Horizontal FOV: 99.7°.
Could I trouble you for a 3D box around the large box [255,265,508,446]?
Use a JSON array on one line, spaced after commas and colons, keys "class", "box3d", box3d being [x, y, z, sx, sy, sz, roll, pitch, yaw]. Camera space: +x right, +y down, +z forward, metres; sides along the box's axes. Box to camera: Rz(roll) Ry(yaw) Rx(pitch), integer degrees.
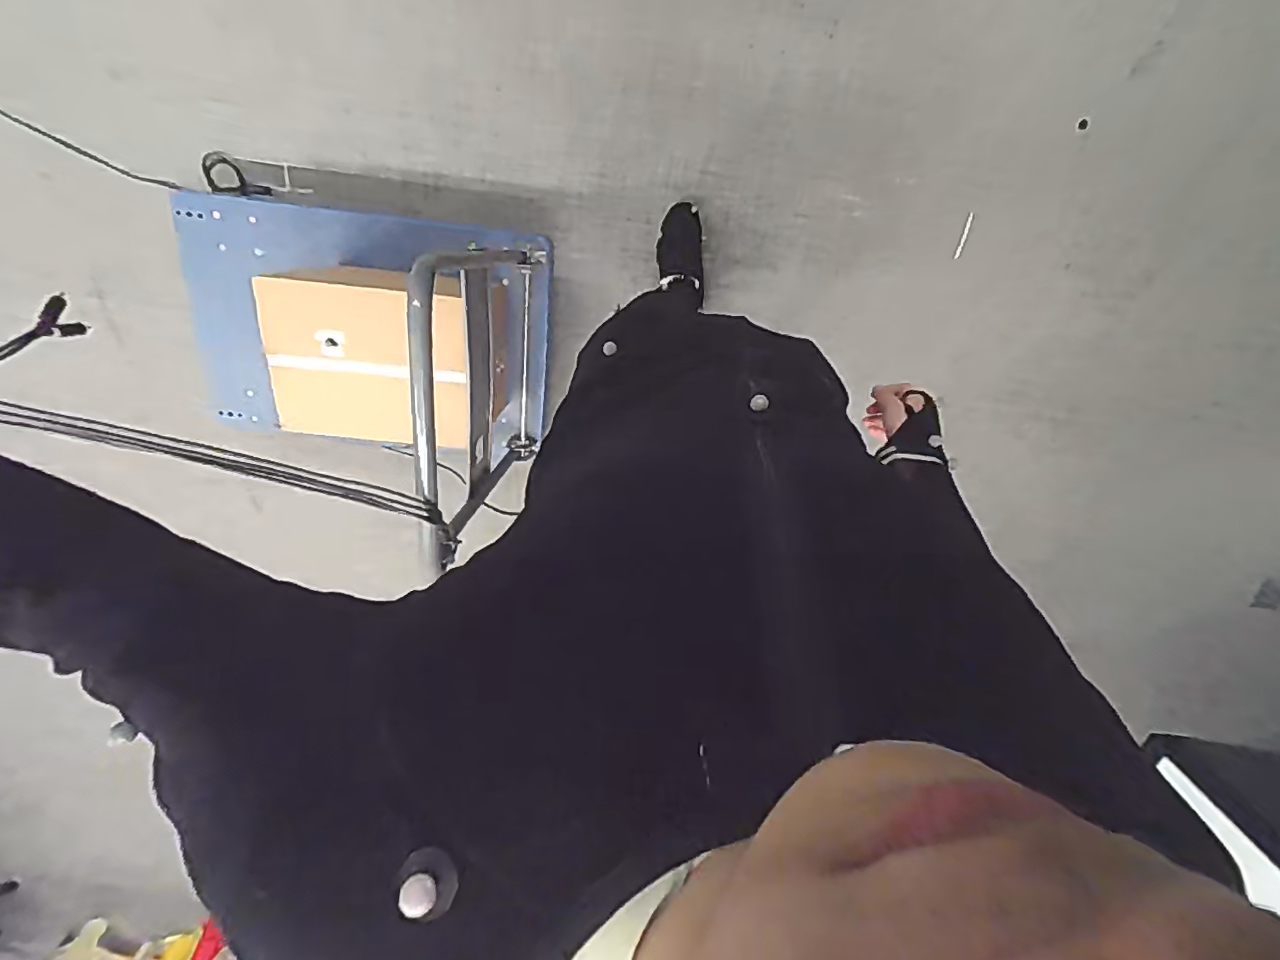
[{"class": "large box", "box3d": [-0.532, -0.289, 1.209, 0.408, 0.320, 0.320, 6, 115, -1]}]
